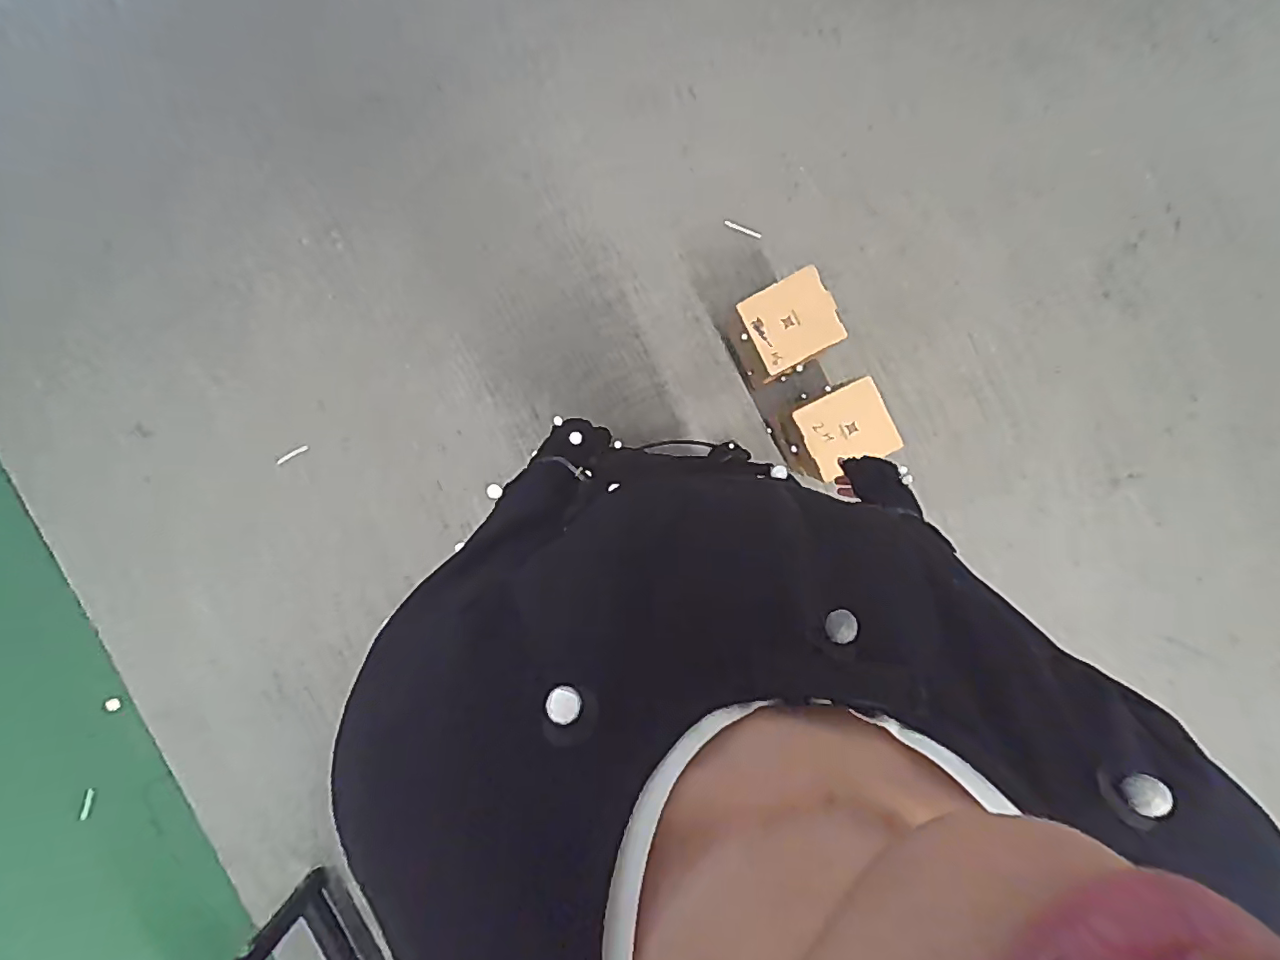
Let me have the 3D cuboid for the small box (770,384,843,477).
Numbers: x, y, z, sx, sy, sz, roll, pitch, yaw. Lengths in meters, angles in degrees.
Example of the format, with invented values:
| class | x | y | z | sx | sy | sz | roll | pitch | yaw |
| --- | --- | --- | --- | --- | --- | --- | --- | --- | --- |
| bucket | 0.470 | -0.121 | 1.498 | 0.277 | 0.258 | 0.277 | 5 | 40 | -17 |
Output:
| class | x | y | z | sx | sy | sz | roll | pitch | yaw |
| --- | --- | --- | --- | --- | --- | --- | --- | --- | --- |
| small box | 0.439 | -0.120 | 1.347 | 0.179 | 0.176 | 0.168 | -27 | 92 | 6 |

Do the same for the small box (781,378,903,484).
| class | x | y | z | sx | sy | sz | roll | pitch | yaw |
| --- | --- | --- | --- | --- | --- | --- | --- | --- | --- |
| small box | 0.431 | -0.107 | 1.183 | 0.179 | 0.176 | 0.168 | -26 | 92 | 7 |
